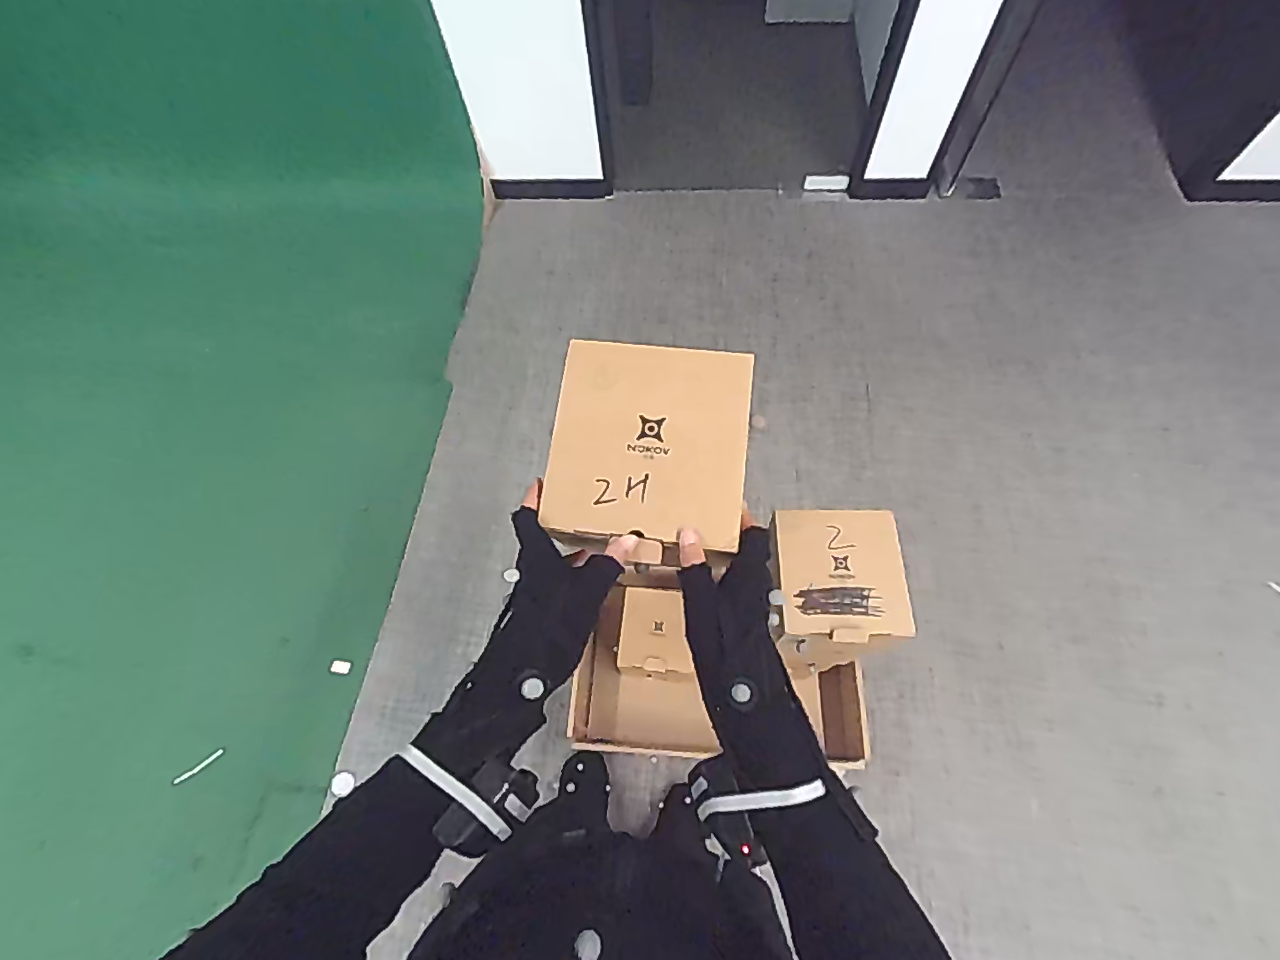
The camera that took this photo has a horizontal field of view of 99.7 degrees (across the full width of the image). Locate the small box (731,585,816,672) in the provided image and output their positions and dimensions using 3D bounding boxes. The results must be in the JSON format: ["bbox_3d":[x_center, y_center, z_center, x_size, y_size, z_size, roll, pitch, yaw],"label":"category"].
[{"bbox_3d":[0.302,0.346,1.249,0.168,0.176,0.179,-3,64,5],"label":"small box"}]

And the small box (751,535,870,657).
[{"bbox_3d":[0.289,0.209,0.951,0.168,0.176,0.179,3,64,5],"label":"small box"}]

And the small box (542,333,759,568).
[{"bbox_3d":[0.016,-0.018,0.530,0.168,0.176,0.179,6,76,6],"label":"small box"}]
